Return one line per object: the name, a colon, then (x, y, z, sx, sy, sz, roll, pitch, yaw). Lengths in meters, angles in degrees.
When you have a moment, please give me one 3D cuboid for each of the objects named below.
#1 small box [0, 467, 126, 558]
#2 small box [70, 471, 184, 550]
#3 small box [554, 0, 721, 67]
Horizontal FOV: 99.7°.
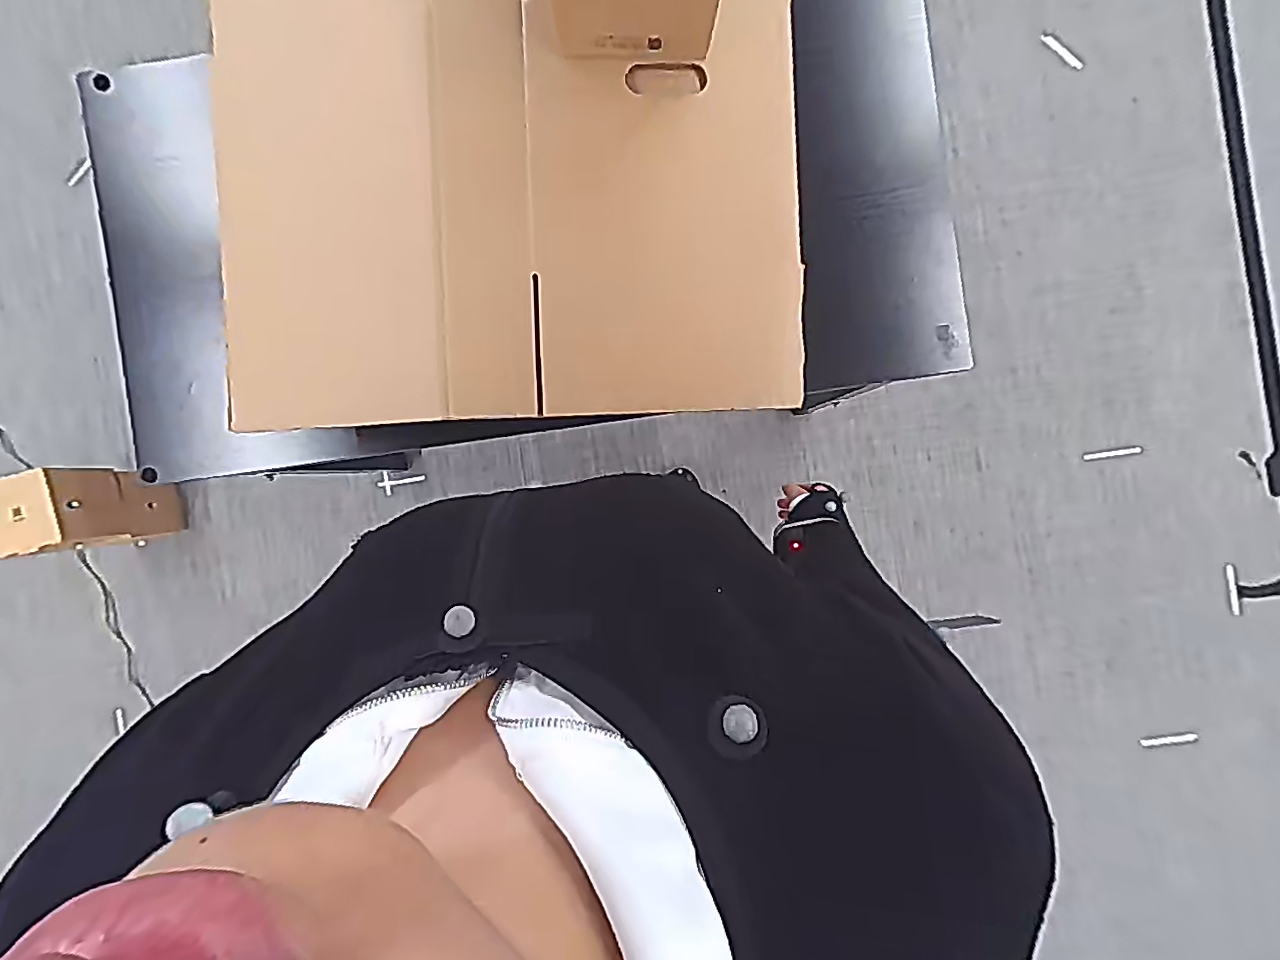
small box: (-1.385, 0.073, 1.284, 0.168, 0.176, 0.179, -15, 89, 0)
small box: (-1.379, 0.077, 1.447, 0.168, 0.176, 0.179, -12, 91, 1)
small box: (-0.003, -0.546, 0.515, 0.168, 0.176, 0.179, -1, 89, -2)
